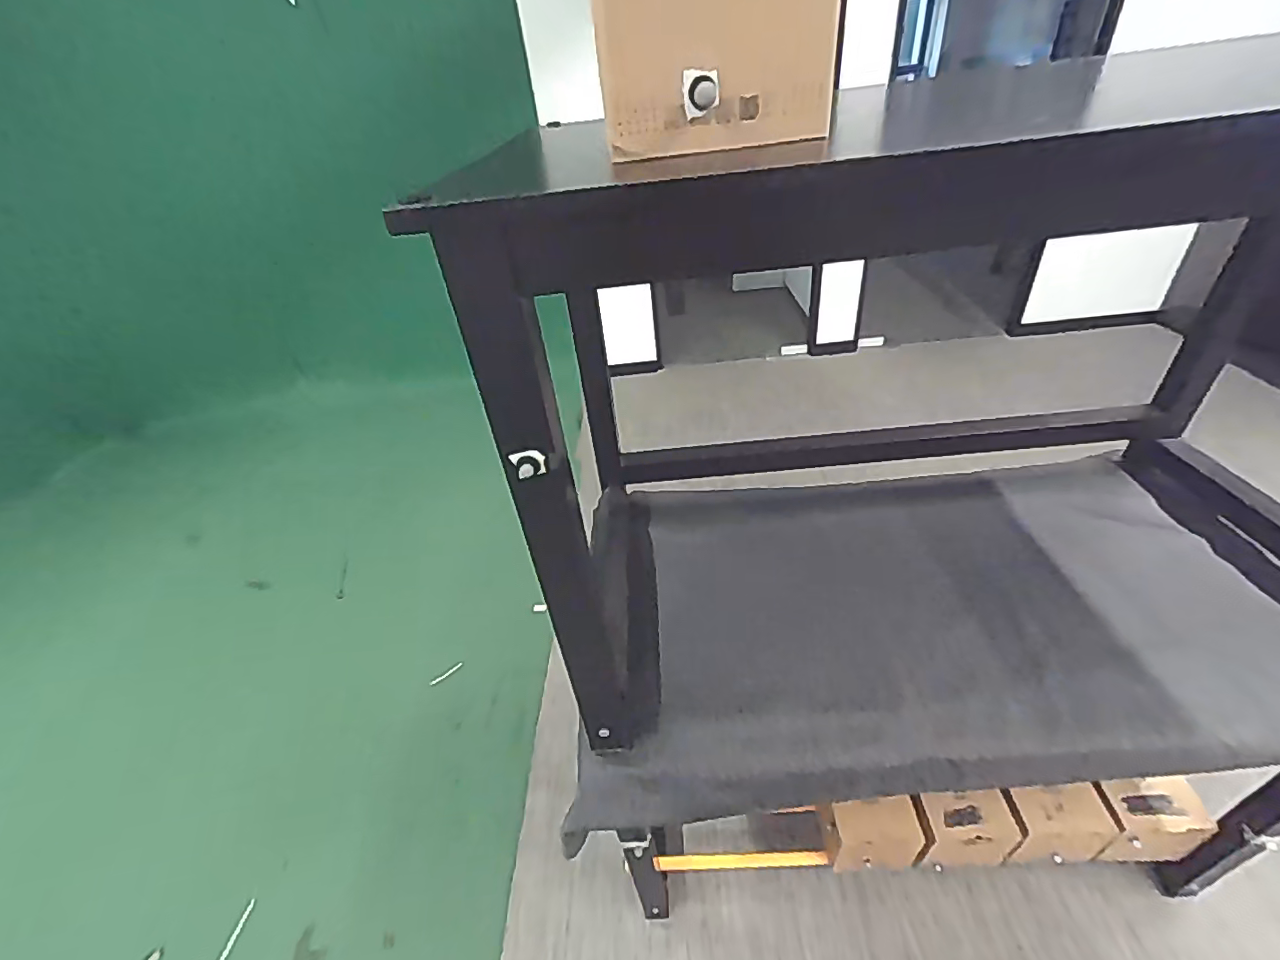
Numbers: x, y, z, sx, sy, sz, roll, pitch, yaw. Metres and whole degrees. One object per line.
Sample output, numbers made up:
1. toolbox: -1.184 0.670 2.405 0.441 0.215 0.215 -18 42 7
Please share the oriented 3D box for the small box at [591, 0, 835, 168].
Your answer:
1. small box: 0.047 -0.361 0.436 0.168 0.176 0.179 -8 36 1
